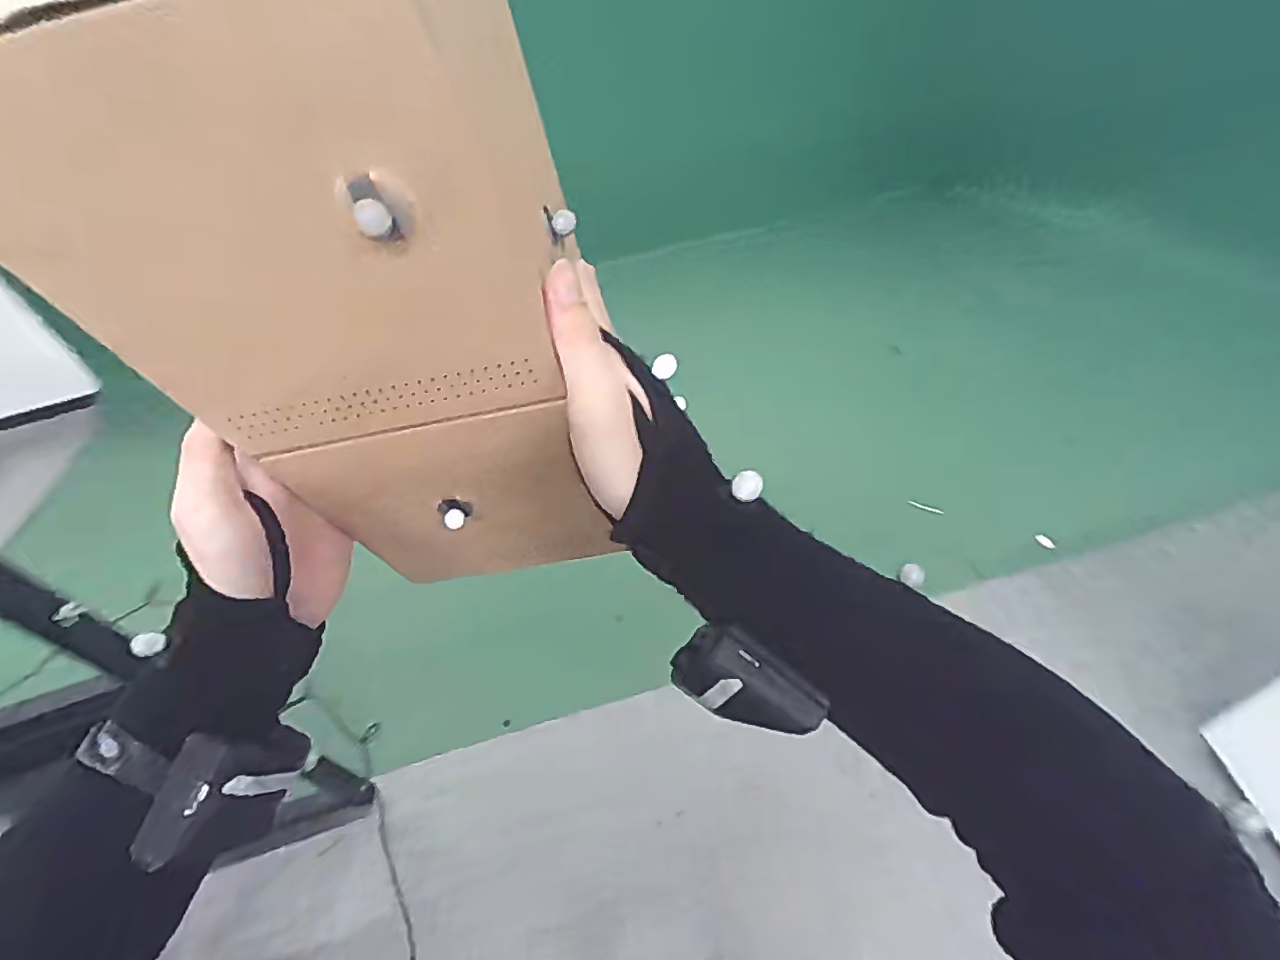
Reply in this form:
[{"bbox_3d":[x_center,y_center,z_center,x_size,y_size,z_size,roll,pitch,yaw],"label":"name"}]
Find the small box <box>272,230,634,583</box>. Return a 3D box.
[{"bbox_3d":[-0.104,-0.042,0.389,0.179,0.176,0.168,-10,54,6],"label":"small box"}]
